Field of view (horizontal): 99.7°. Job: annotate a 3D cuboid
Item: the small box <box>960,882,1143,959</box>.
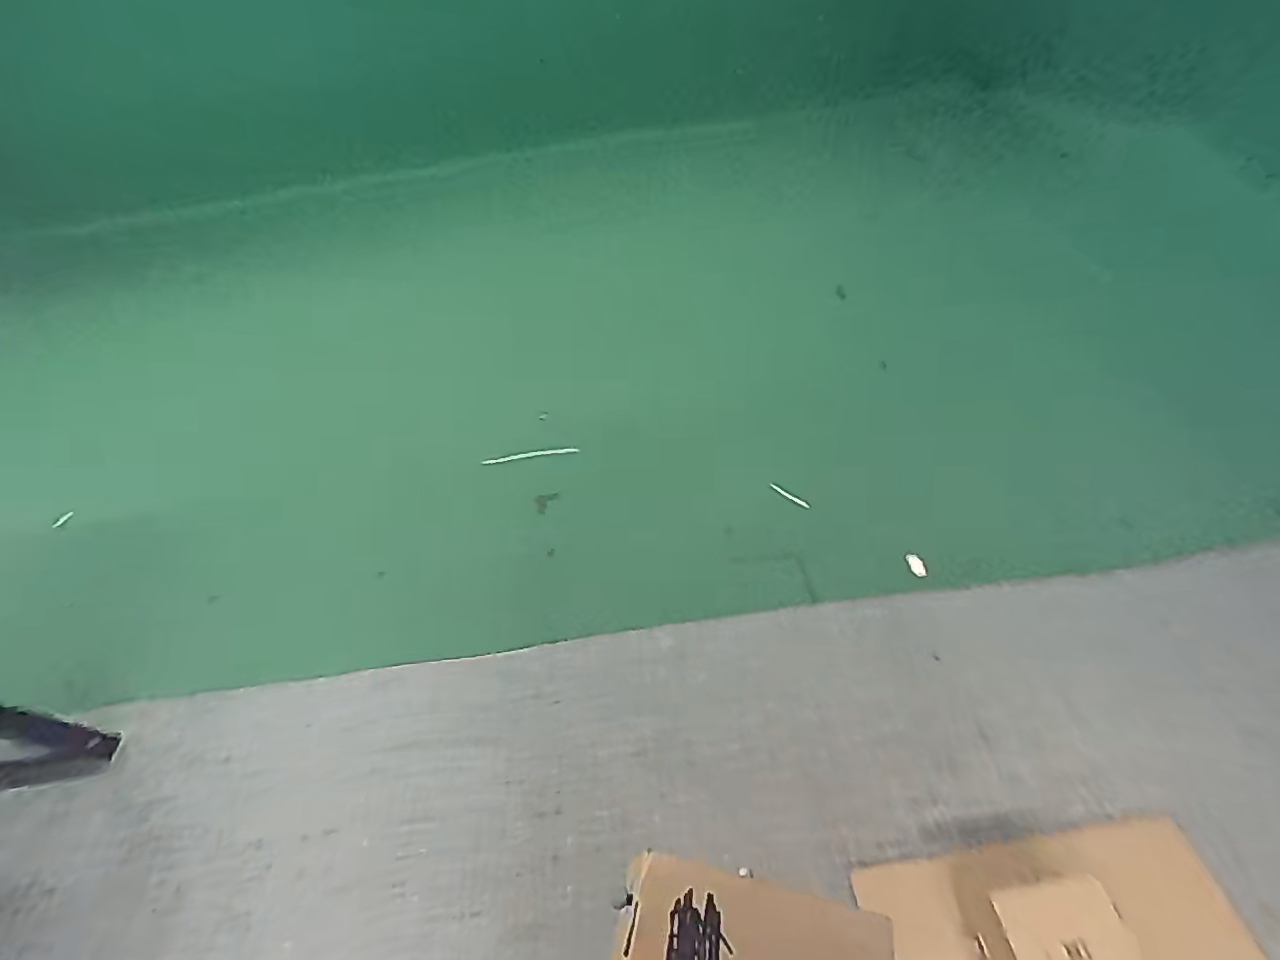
[{"bbox_3d":[0.647,0.746,0.848,0.179,0.176,0.168,-10,50,1],"label":"small box"}]
